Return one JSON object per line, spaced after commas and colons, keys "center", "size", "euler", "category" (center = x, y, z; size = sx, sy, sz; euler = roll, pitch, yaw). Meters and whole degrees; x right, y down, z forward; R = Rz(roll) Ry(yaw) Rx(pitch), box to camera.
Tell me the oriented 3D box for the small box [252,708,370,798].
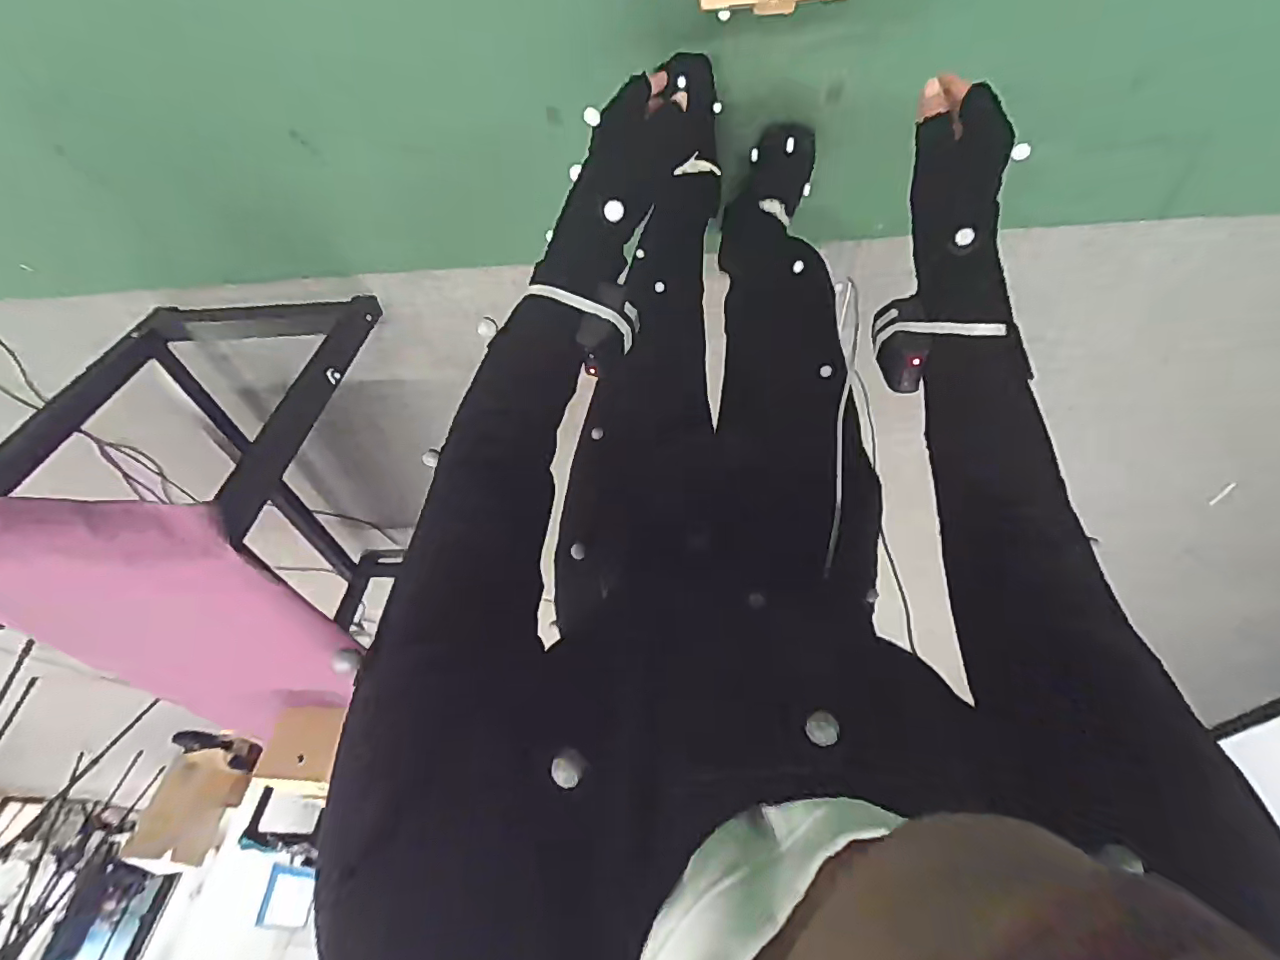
{"center": [-0.808, 0.684, 1.358], "size": [0.179, 0.176, 0.168], "euler": [1, 139, 4], "category": "small box"}
